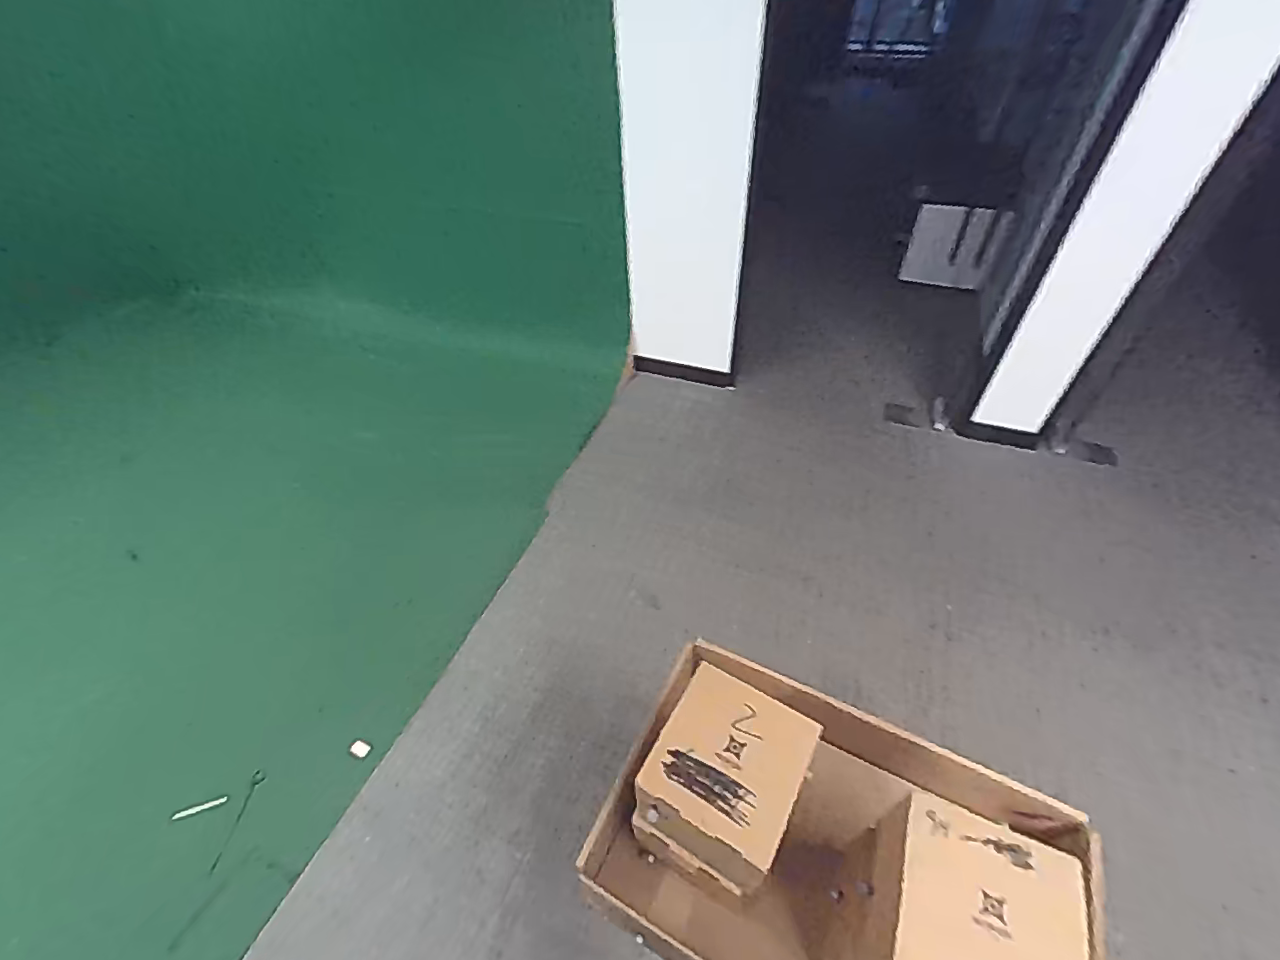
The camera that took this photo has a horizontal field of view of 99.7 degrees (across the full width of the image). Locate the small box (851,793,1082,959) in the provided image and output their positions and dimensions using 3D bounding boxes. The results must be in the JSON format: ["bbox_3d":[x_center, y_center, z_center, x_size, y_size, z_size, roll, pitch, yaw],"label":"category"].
[{"bbox_3d":[0.343,0.488,0.590,0.168,0.176,0.179,18,51,19],"label":"small box"}]
